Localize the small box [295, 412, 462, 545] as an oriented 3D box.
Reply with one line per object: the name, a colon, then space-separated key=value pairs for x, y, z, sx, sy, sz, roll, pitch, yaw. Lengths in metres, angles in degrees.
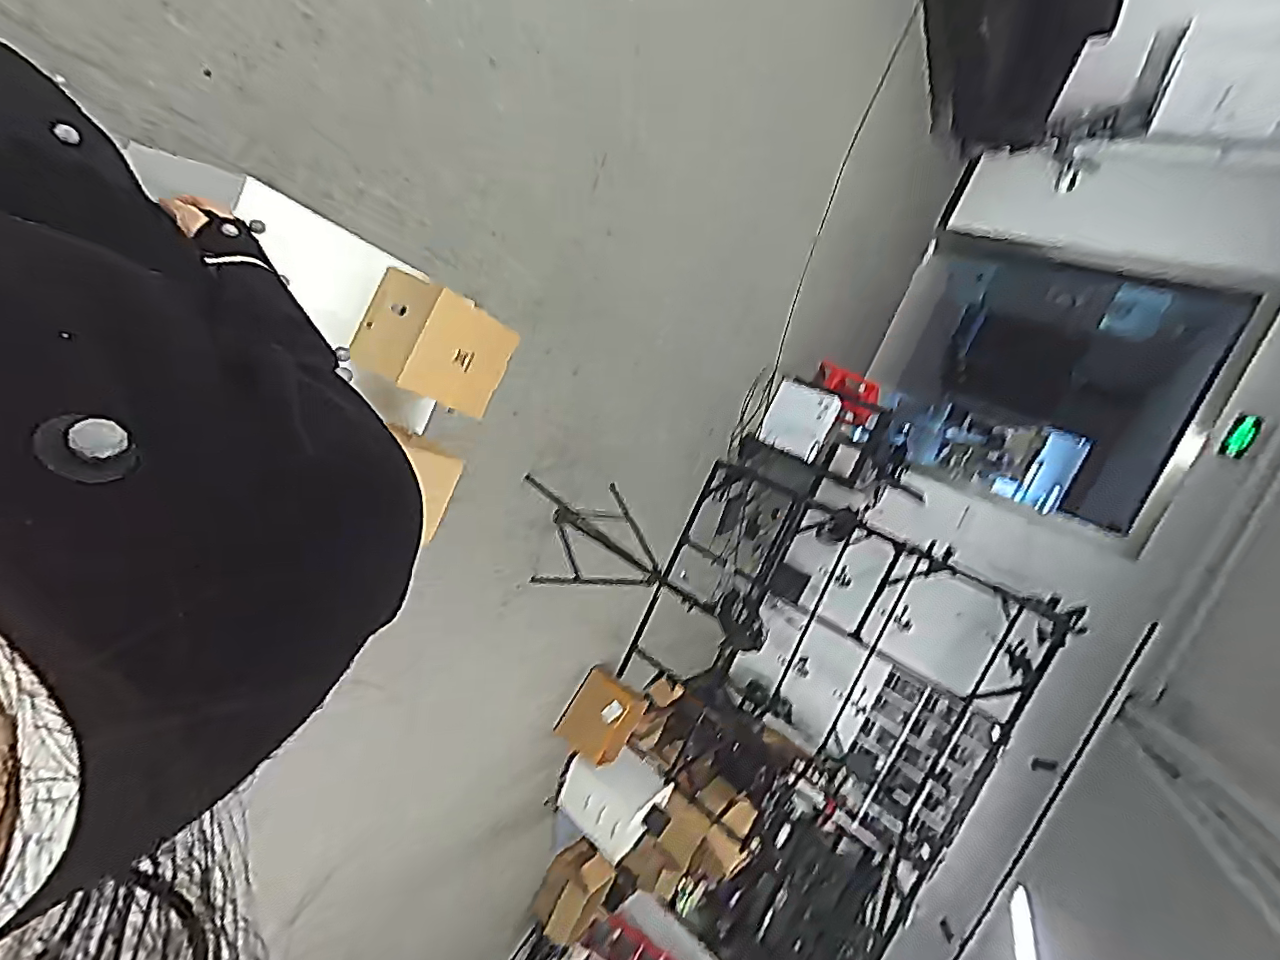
small box: x=-0.453 y=-0.003 z=0.936 sx=0.179 sy=0.176 sz=0.168 roll=19 pitch=97 yaw=-59

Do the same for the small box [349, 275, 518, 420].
small box: x=-0.350 y=-0.226 z=0.916 sx=0.179 sy=0.176 sz=0.168 roll=24 pitch=94 yaw=-59
